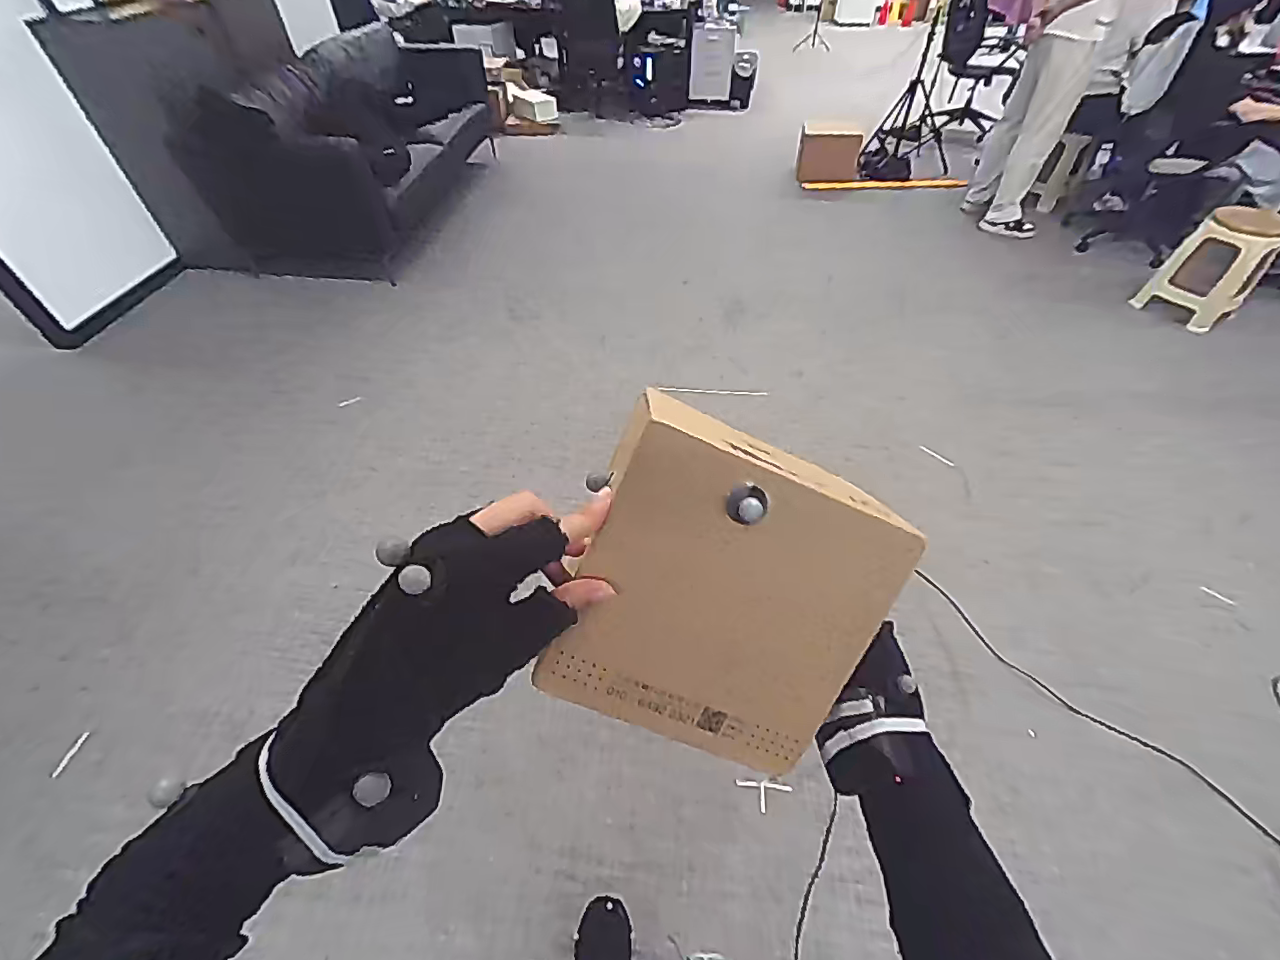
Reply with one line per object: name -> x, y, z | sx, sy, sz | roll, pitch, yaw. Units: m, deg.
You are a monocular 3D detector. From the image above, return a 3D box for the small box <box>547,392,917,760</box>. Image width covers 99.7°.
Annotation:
small box -> 0.046, 0.053, 0.389 | 0.168, 0.176, 0.179 | 24, 13, -7
